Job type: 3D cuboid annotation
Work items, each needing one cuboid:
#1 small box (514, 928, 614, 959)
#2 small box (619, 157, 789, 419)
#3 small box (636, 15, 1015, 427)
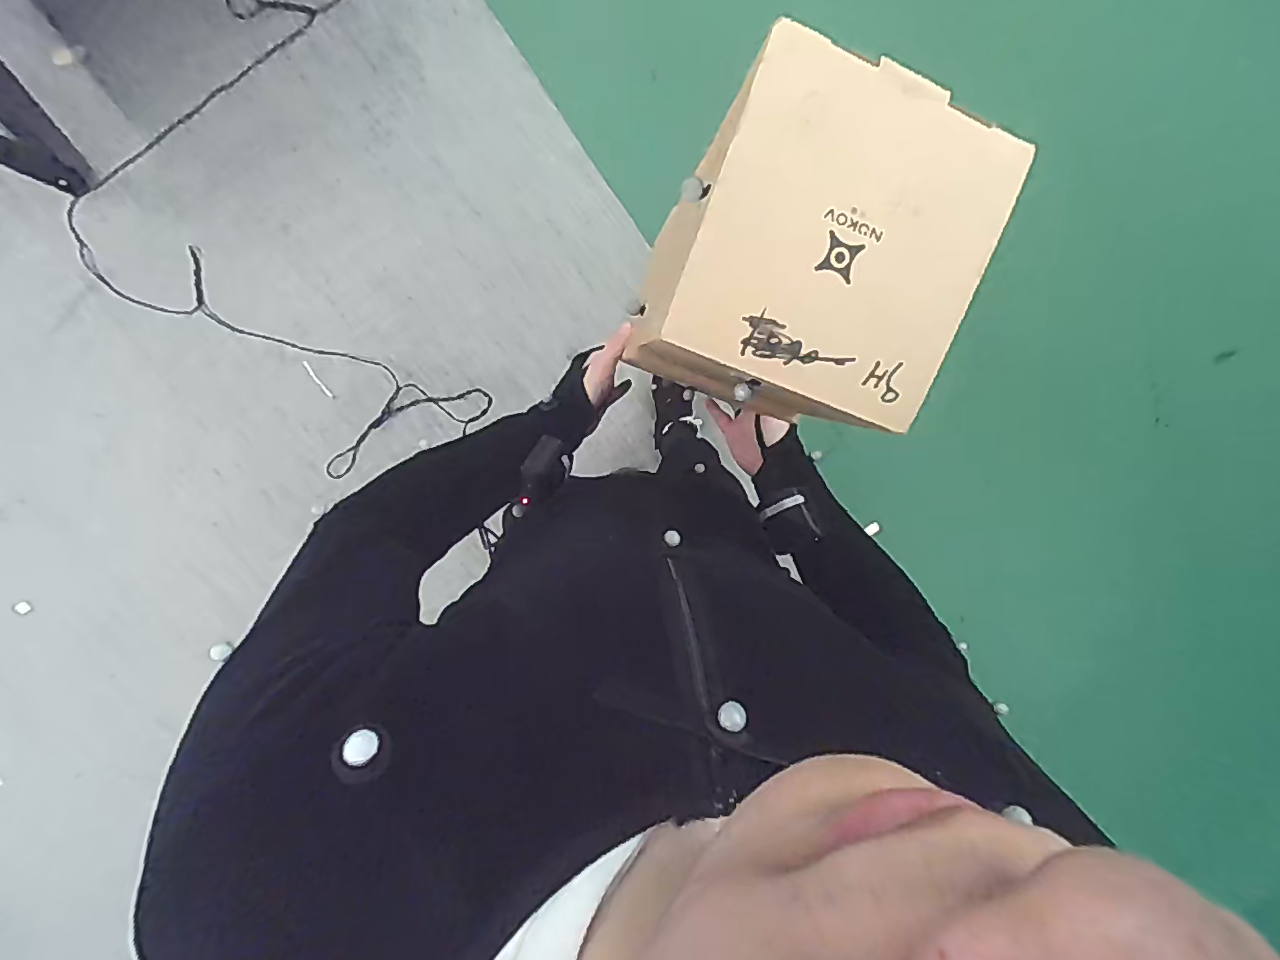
[{"bbox_3d":[-0.118,0.888,0.882,0.168,0.176,0.179,-28,98,-1],"label":"small box"},{"bbox_3d":[0.083,-0.178,0.546,0.168,0.176,0.179,20,99,-9],"label":"small box"},{"bbox_3d":[0.102,-0.153,0.385,0.168,0.176,0.179,19,99,-8],"label":"small box"}]
